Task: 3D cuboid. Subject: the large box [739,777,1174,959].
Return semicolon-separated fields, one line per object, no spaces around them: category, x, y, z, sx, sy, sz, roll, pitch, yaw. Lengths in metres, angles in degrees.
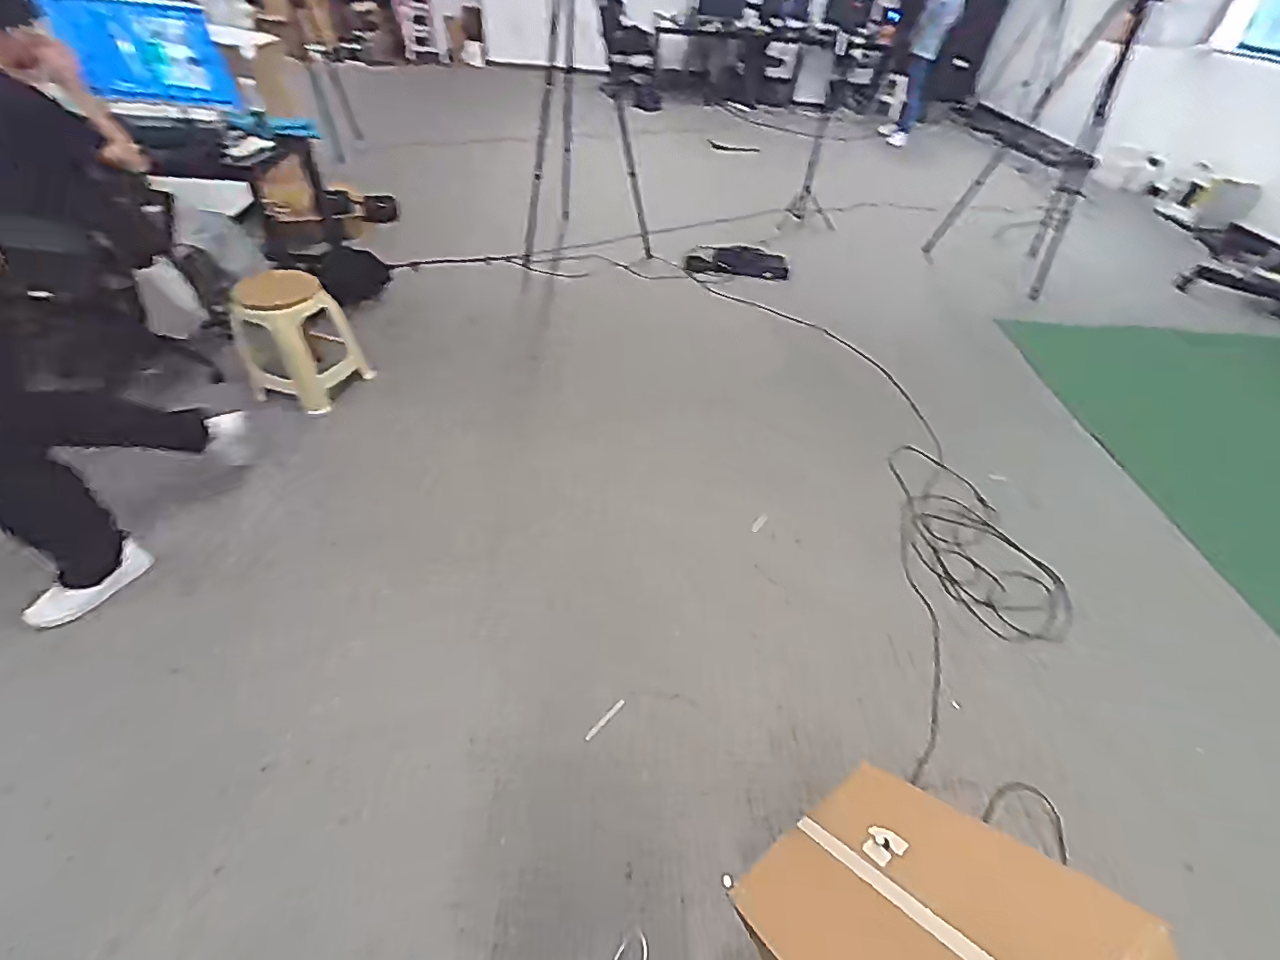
large box;0.406;0.678;0.682;0.320;0.408;0.320;-27;94;-20
